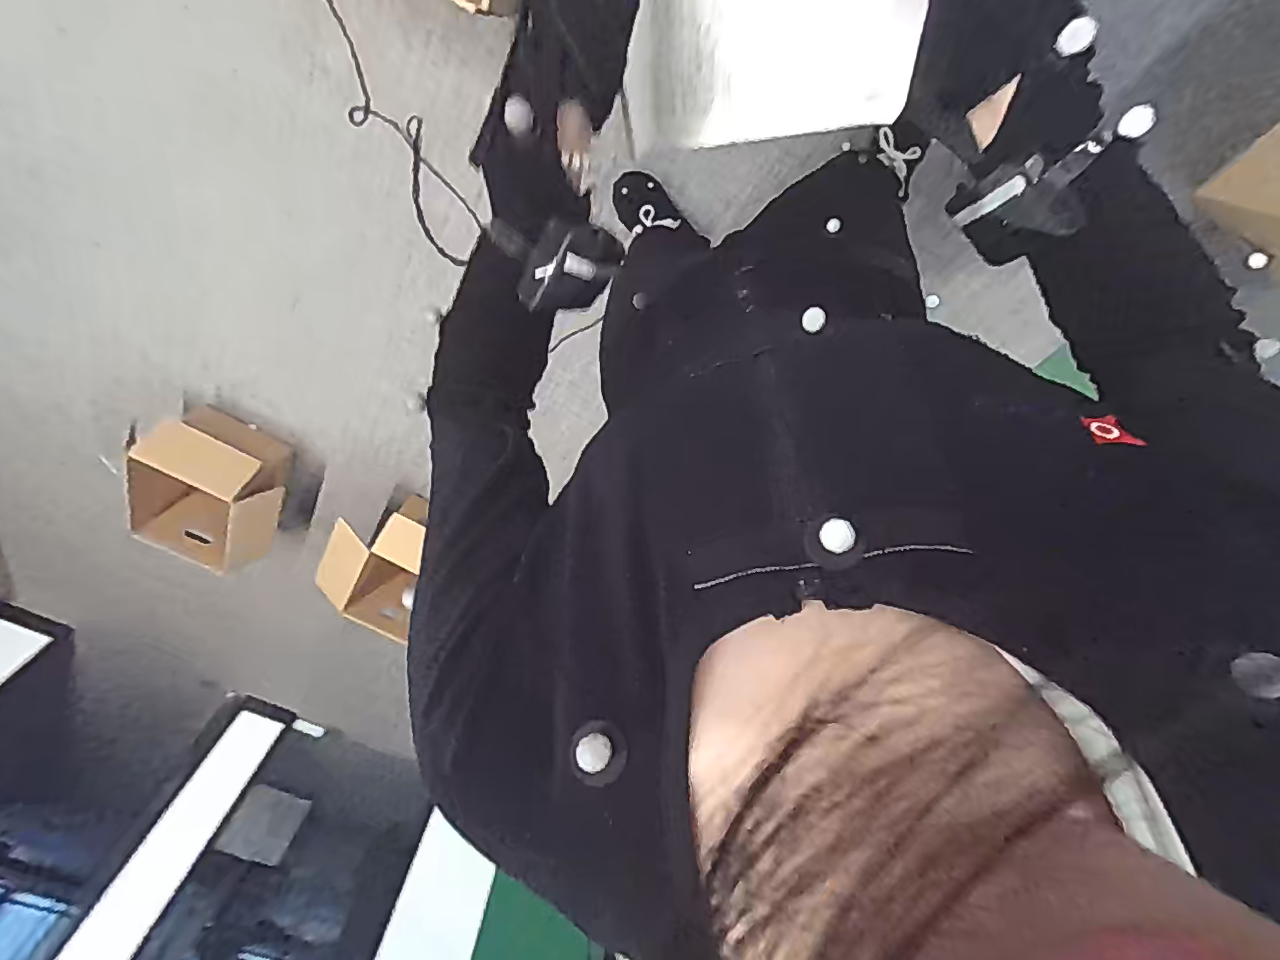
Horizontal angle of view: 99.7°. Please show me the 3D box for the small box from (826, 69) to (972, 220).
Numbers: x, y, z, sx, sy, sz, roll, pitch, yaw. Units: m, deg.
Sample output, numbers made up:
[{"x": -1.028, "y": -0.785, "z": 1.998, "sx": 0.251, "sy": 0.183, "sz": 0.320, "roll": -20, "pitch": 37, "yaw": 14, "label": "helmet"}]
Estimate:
[{"x": 0.501, "y": -0.654, "z": 1.071, "sx": 0.179, "sy": 0.176, "sz": 0.168, "roll": -18, "pitch": 81, "yaw": -3, "label": "small box"}]
